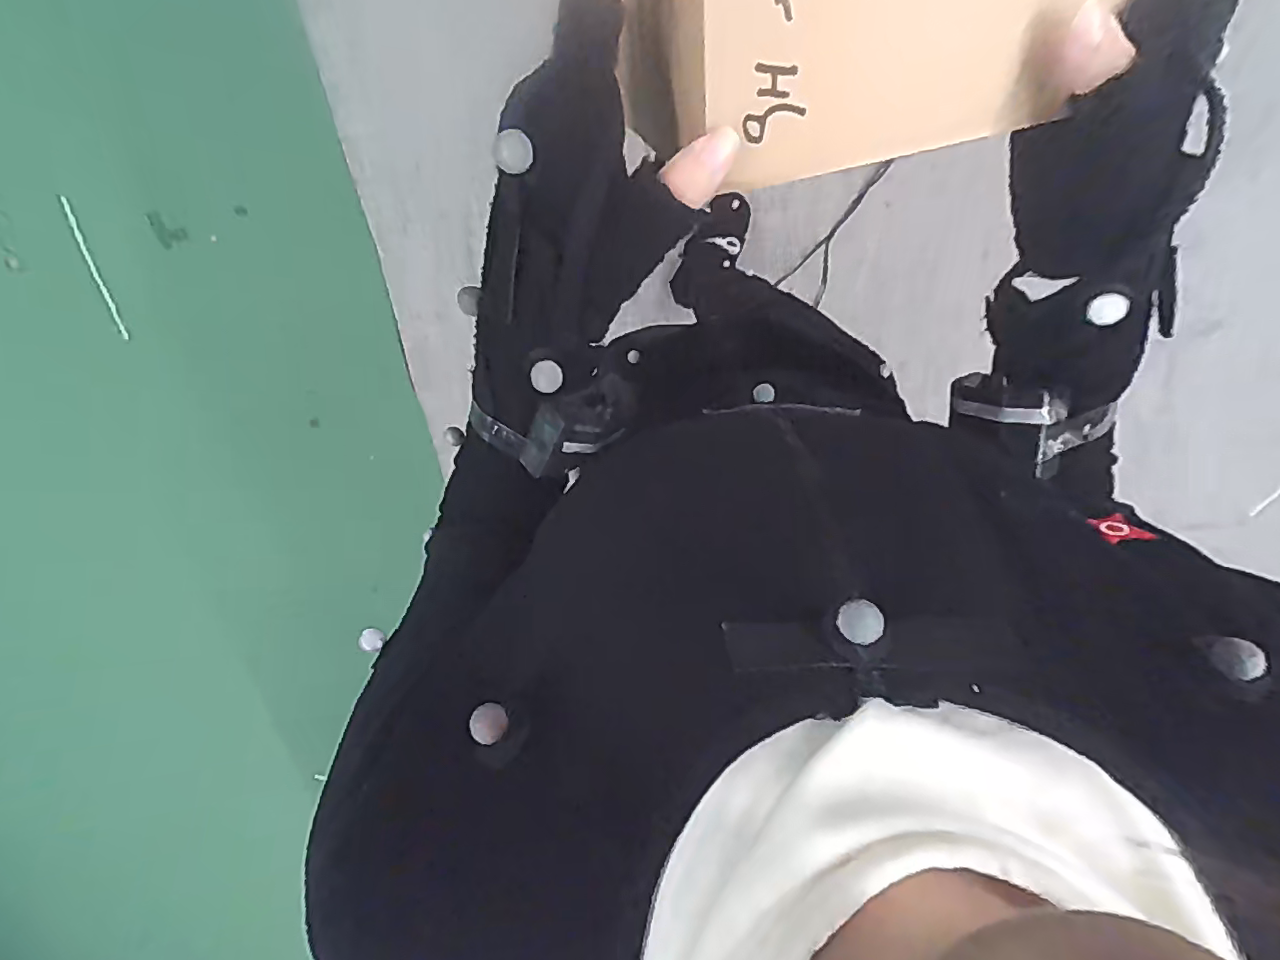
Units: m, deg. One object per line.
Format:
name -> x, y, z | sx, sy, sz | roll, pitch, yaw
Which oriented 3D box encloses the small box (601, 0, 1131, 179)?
small box -> 0.083, -0.249, 0.223 | 0.179, 0.176, 0.168 | -15, 134, -7
